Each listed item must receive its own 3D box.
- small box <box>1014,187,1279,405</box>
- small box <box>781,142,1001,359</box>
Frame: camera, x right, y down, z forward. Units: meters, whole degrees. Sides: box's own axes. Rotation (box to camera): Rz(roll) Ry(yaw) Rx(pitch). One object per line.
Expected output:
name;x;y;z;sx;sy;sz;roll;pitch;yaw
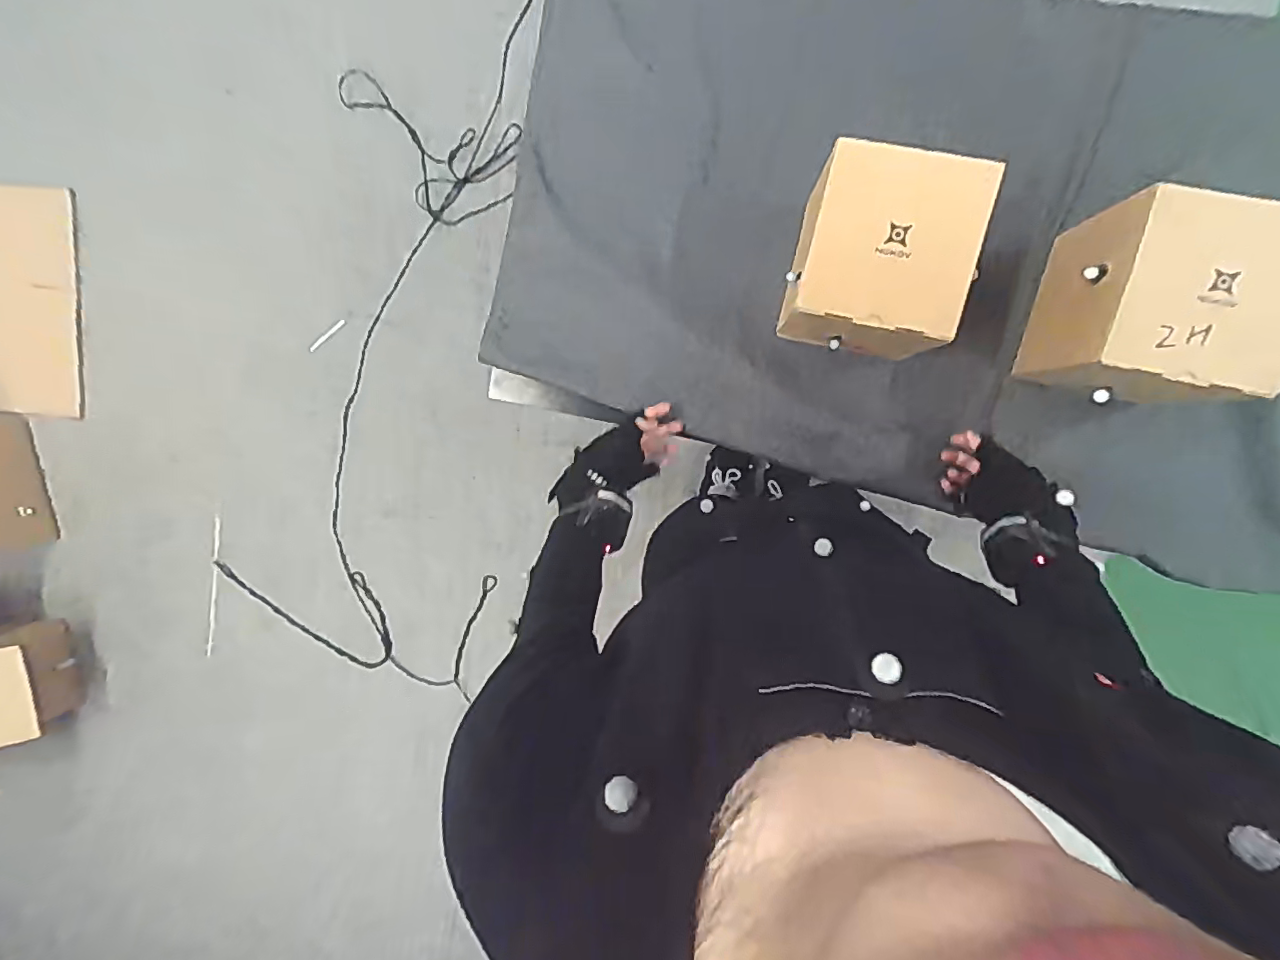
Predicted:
small box;0.561;-0.187;0.601;0.168;0.176;0.179;14;98;6
small box;0.272;-0.251;0.632;0.168;0.176;0.179;13;98;5
